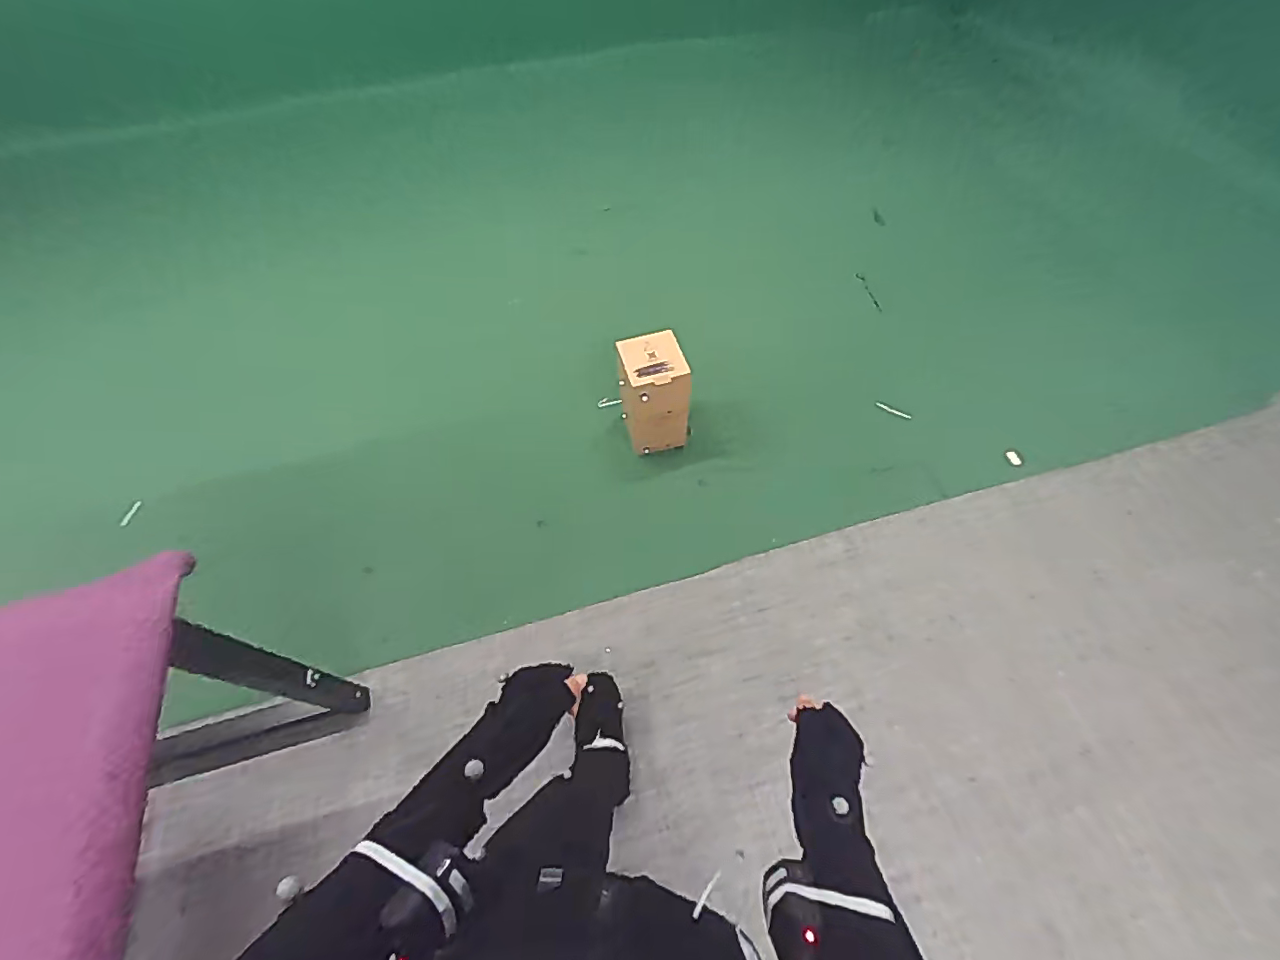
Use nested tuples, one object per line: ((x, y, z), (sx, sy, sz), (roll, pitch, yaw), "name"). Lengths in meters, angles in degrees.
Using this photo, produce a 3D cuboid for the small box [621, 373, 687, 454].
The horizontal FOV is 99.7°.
((0.043, -0.199, 1.688), (0.168, 0.176, 0.179), (-14, 59, -7), "small box")
